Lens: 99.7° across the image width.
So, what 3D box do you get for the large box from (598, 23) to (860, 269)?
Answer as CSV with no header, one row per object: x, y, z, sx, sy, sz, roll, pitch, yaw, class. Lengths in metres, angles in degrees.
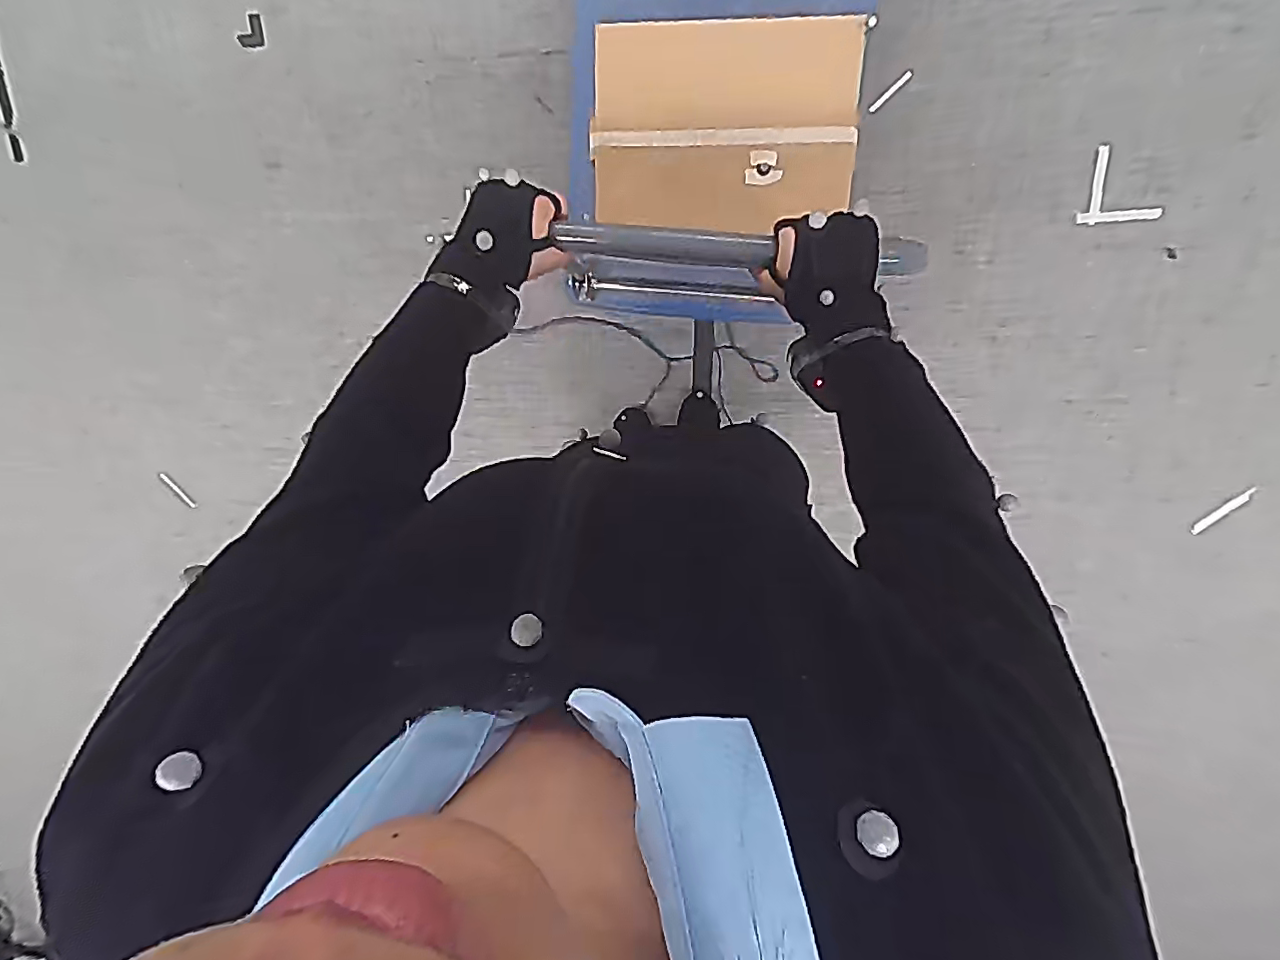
0.143,-0.576,1.003,0.408,0.320,0.320,2,106,5,large box
